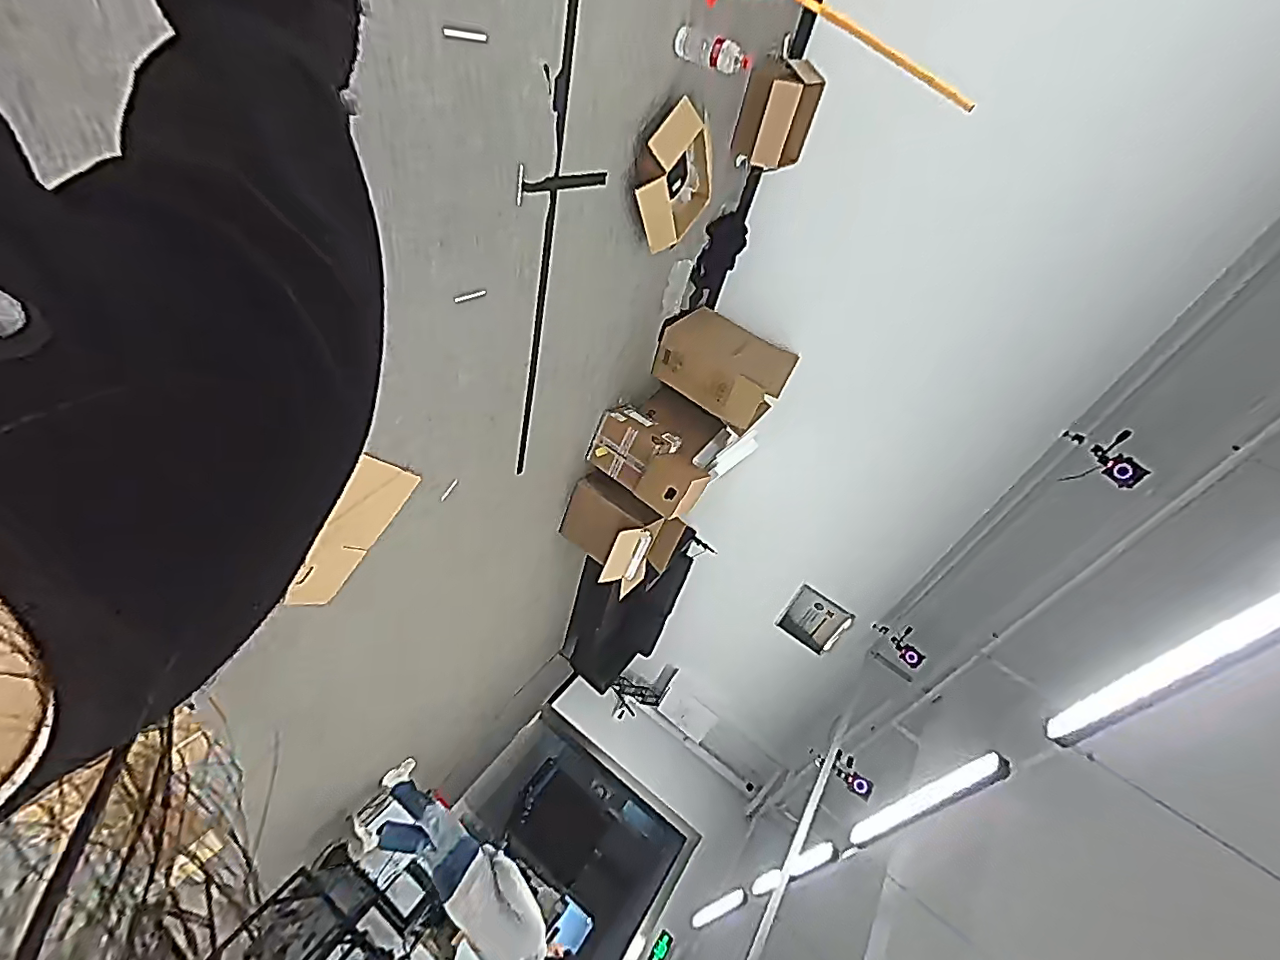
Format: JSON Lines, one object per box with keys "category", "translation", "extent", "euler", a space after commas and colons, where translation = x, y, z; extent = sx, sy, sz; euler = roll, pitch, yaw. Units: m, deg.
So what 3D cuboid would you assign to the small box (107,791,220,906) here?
{"category": "small box", "translation": [-1.321, 1.016, 1.498], "extent": [0.179, 0.176, 0.168], "euler": [-39, 157, -47]}
